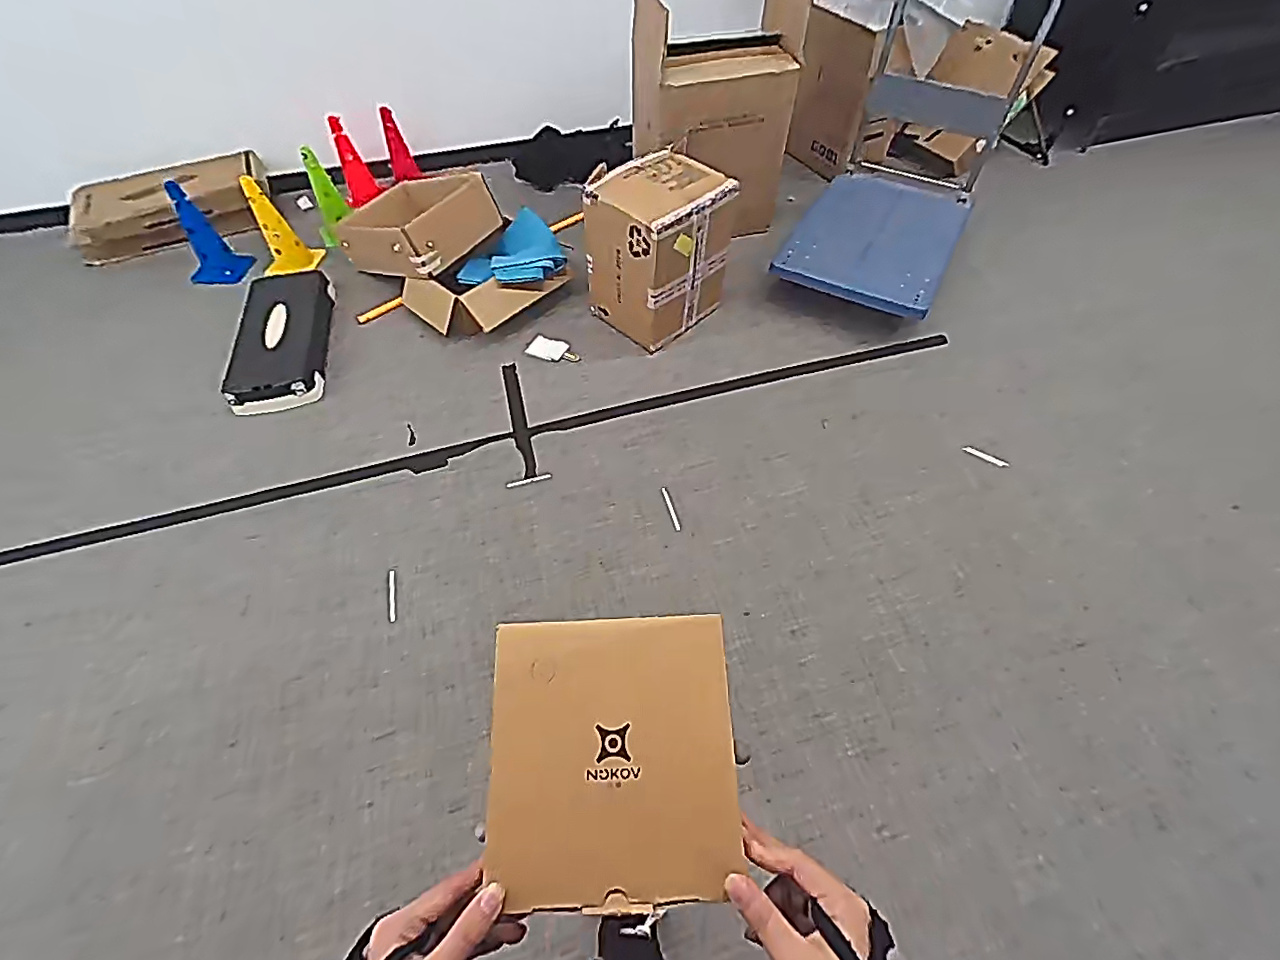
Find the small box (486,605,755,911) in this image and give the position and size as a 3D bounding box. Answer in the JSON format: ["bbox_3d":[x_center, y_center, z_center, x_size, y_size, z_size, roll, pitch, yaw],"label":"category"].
[{"bbox_3d":[-0.017,0.205,0.431,0.168,0.176,0.179,-3,67,-2],"label":"small box"}]
